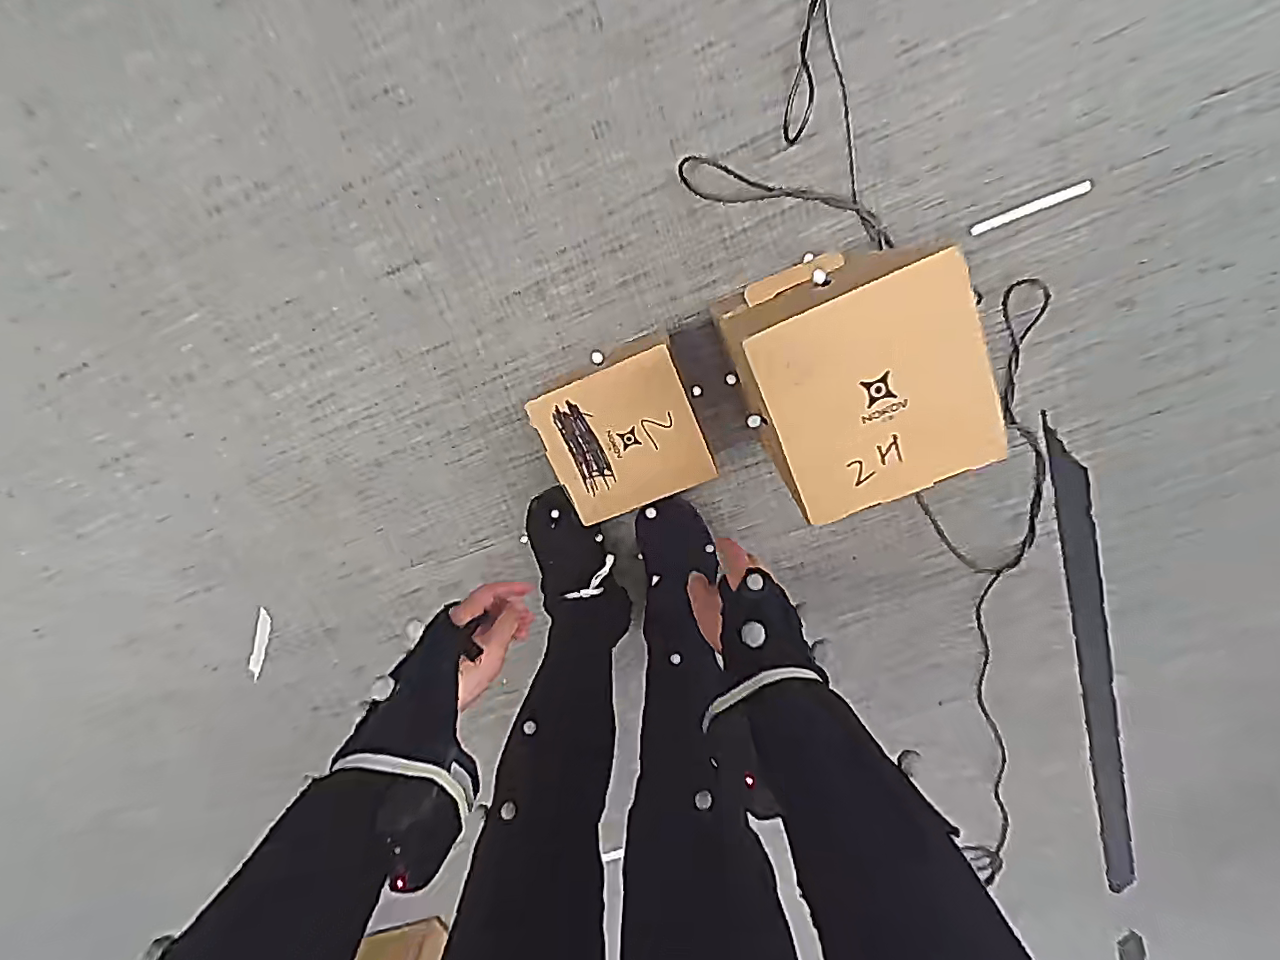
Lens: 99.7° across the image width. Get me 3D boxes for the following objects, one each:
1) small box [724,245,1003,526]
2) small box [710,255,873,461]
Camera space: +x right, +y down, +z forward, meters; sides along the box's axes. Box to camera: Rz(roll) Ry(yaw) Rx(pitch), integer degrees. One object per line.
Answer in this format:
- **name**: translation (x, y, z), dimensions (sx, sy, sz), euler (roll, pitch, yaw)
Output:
- **small box**: translation (0.185, -0.091, 0.495), dimensions (0.168, 0.176, 0.179), euler (-22, 109, 11)
- **small box**: translation (0.190, -0.149, 0.649), dimensions (0.168, 0.176, 0.179), euler (-20, 109, 10)
